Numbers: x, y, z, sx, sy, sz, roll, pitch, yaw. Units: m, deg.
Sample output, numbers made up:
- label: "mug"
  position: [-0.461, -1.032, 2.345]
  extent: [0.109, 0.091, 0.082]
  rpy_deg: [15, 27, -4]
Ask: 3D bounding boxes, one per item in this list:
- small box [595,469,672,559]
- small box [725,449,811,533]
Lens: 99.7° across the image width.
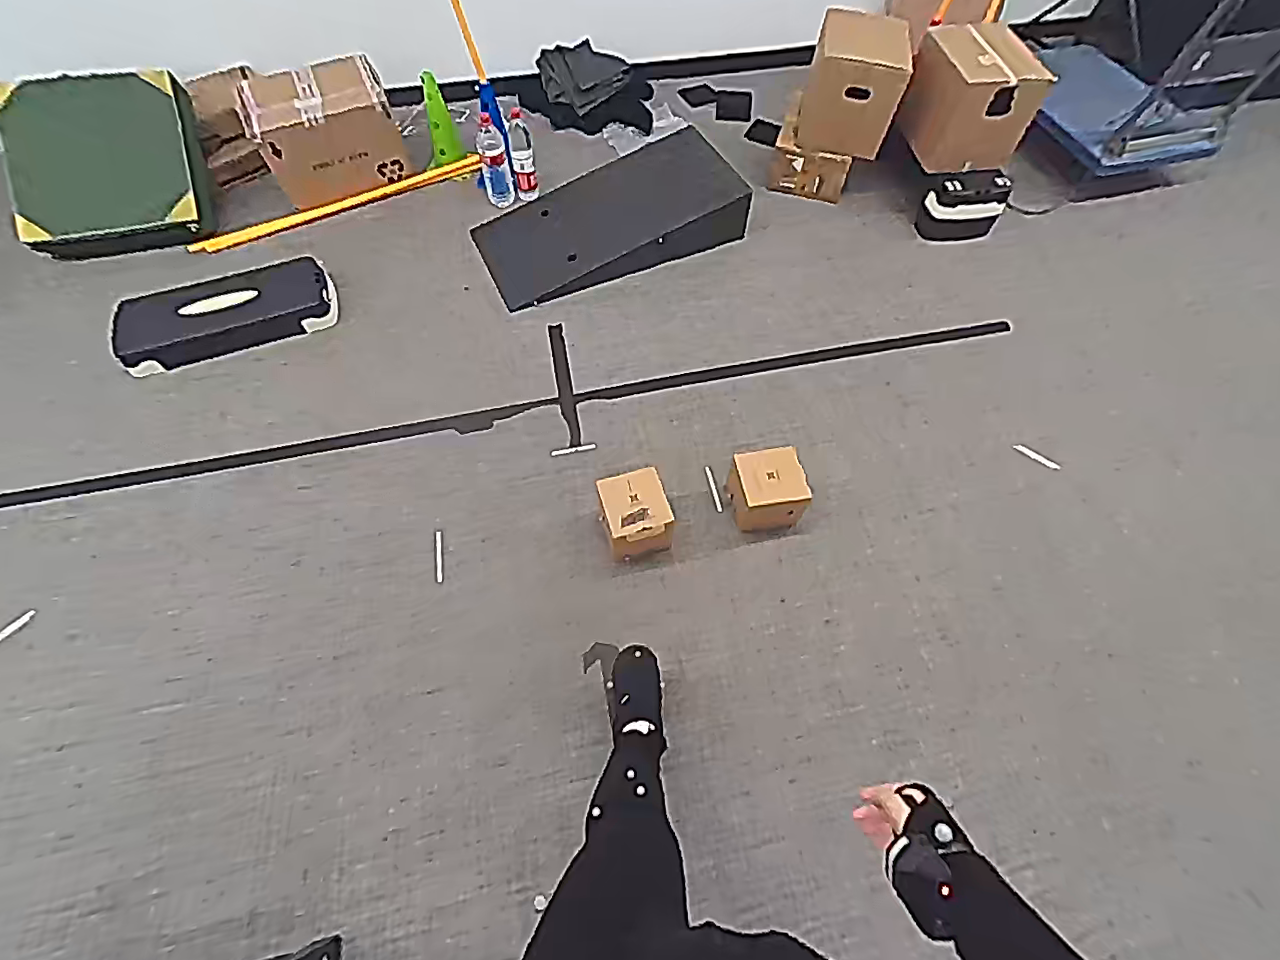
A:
- label: "small box"
  position: [-0.018, 0.100, 1.457]
  extent: [0.168, 0.176, 0.179]
  rpy_deg: [-15, 61, -9]
- label: "small box"
  position: [0.349, 0.033, 1.503]
  extent: [0.179, 0.176, 0.168]
  rpy_deg: [-8, 61, -5]
